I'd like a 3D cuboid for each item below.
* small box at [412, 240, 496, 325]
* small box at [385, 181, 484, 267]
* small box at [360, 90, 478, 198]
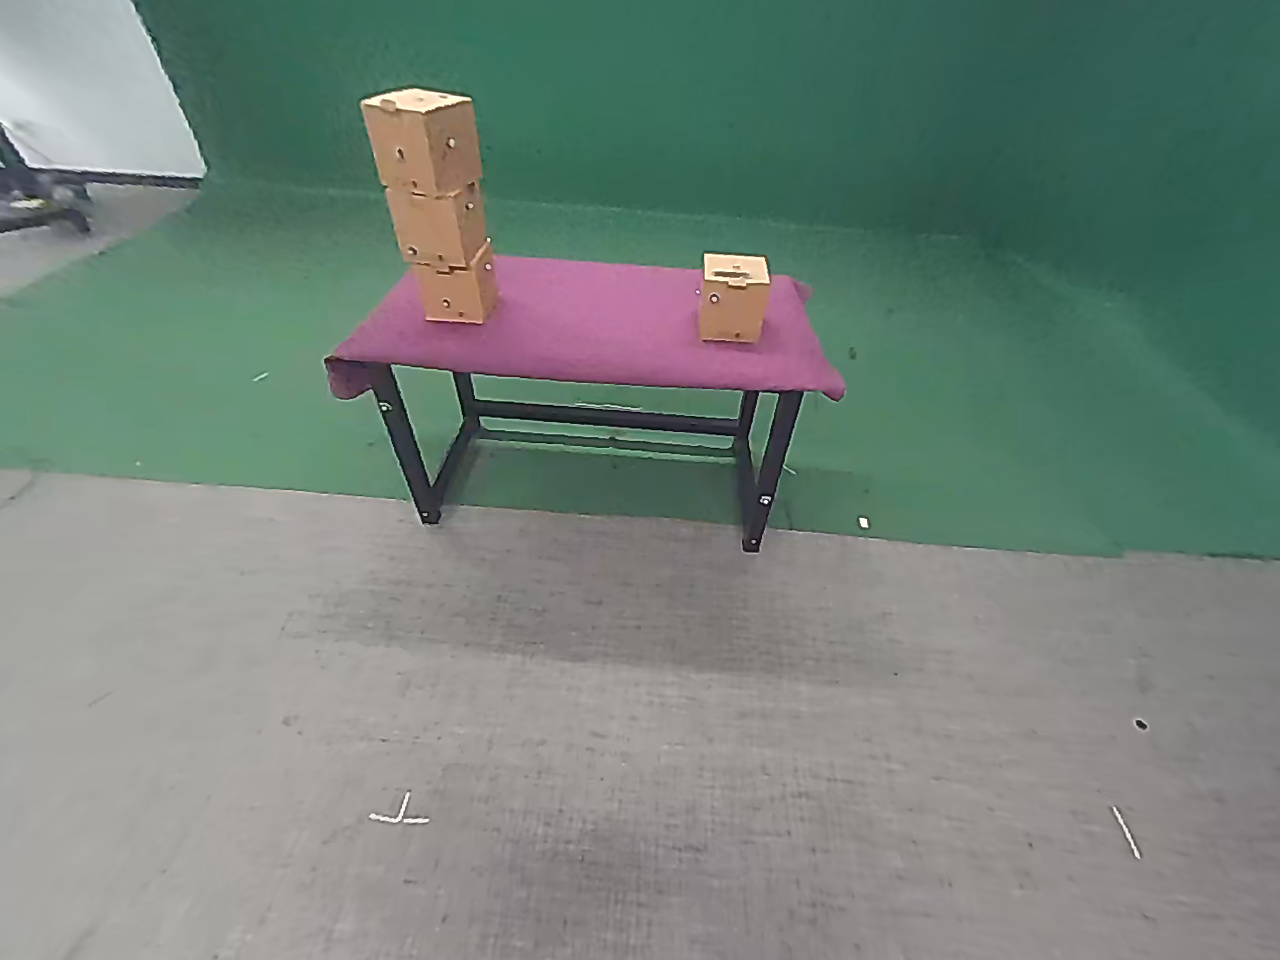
[{"bbox_3d":[-0.501,-0.548,1.486,0.168,0.176,0.179,4,46,-1],"label":"small box"},{"bbox_3d":[-0.503,-0.654,1.359,0.168,0.176,0.179,7,45,3],"label":"small box"},{"bbox_3d":[-0.495,-0.772,1.245,0.168,0.176,0.179,20,49,14],"label":"small box"}]
